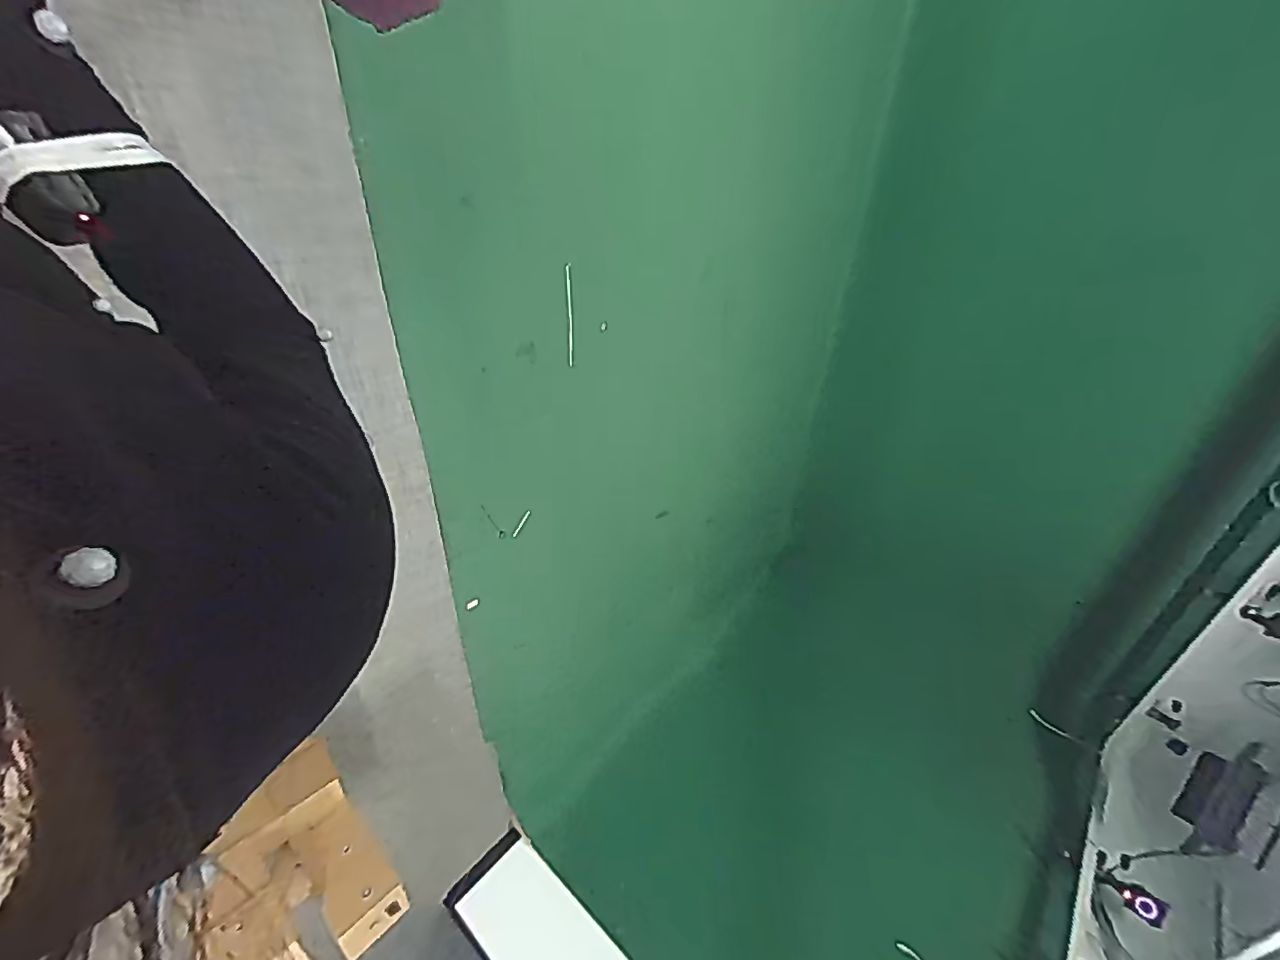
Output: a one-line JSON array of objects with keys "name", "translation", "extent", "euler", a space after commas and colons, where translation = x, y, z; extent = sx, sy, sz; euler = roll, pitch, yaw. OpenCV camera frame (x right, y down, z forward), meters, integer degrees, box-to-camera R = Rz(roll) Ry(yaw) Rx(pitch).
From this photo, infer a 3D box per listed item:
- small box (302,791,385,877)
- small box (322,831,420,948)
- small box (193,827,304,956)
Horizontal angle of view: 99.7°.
[{"name": "small box", "translation": [-0.879, 1.083, 1.623], "extent": [0.168, 0.176, 0.179], "euler": [-30, 137, -41]}, {"name": "small box", "translation": [-0.757, 1.149, 1.530], "extent": [0.179, 0.176, 0.168], "euler": [-31, 137, -41]}, {"name": "small box", "translation": [-1.020, 1.062, 1.405], "extent": [0.179, 0.176, 0.168], "euler": [-31, 137, -40]}]
